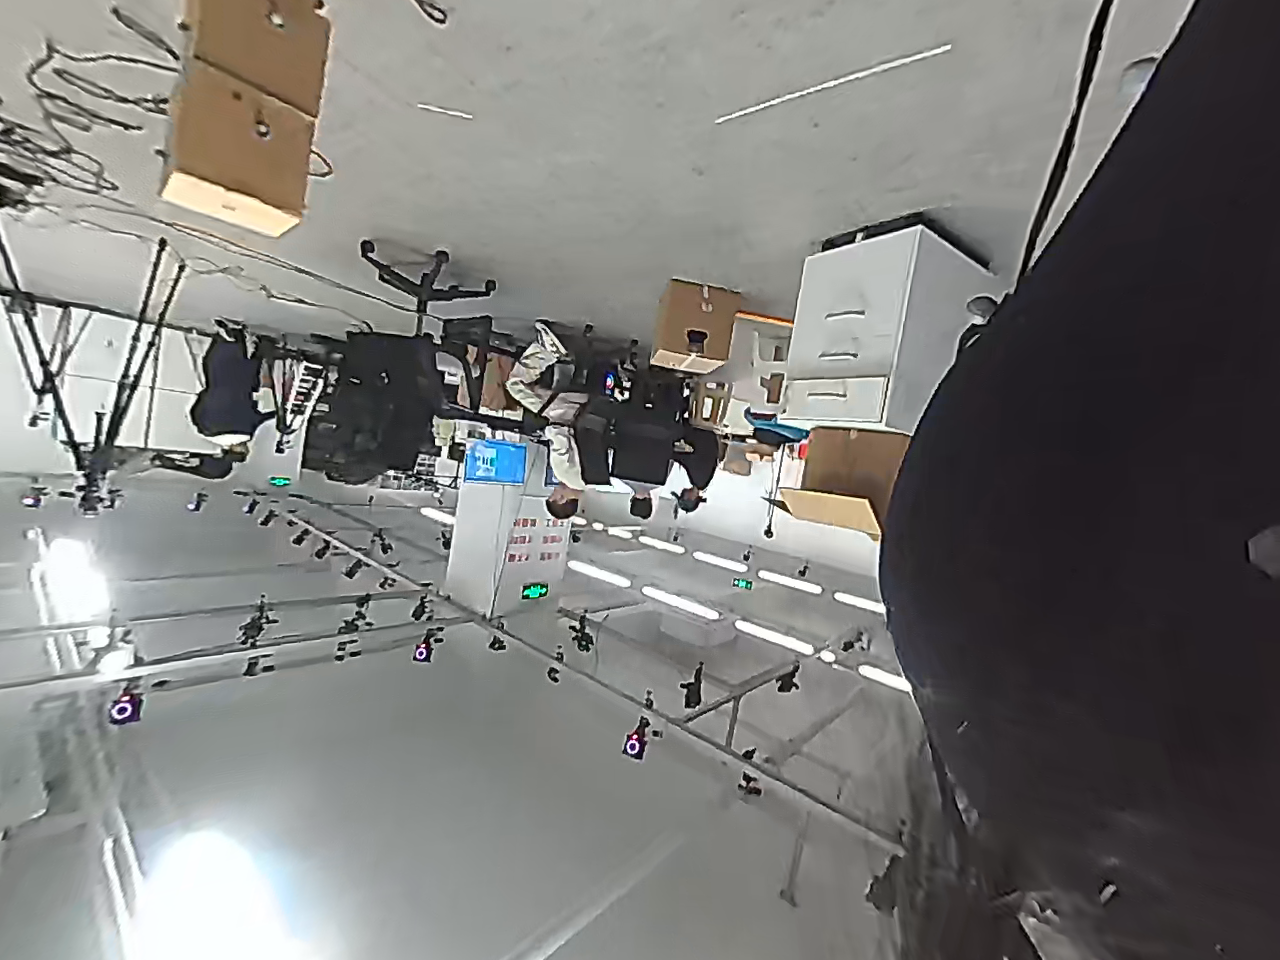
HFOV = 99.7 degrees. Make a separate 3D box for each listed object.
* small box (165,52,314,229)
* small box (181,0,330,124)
[{"bbox_3d":[-0.659,-0.546,0.893,0.179,0.176,0.168,10,-177,44],"label":"small box"},{"bbox_3d":[-0.632,-0.706,0.893,0.179,0.176,0.168,10,-177,43],"label":"small box"}]
